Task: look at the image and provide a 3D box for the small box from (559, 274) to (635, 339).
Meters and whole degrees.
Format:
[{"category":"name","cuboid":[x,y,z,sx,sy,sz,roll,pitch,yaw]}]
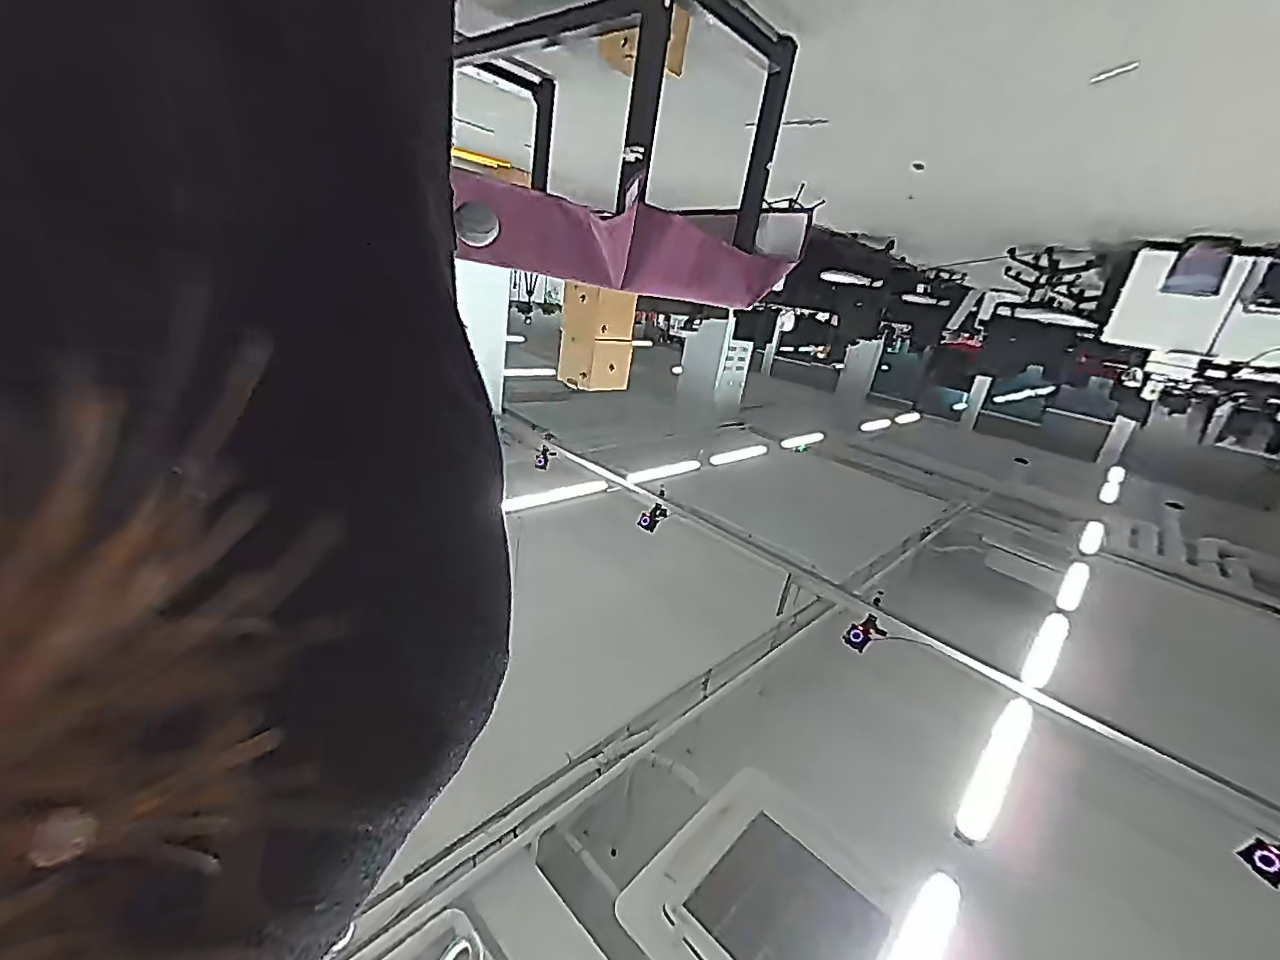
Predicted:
[{"category":"small box","cuboid":[-0.136,-0.561,1.751,0.168,0.176,0.179,26,-154,37]}]
